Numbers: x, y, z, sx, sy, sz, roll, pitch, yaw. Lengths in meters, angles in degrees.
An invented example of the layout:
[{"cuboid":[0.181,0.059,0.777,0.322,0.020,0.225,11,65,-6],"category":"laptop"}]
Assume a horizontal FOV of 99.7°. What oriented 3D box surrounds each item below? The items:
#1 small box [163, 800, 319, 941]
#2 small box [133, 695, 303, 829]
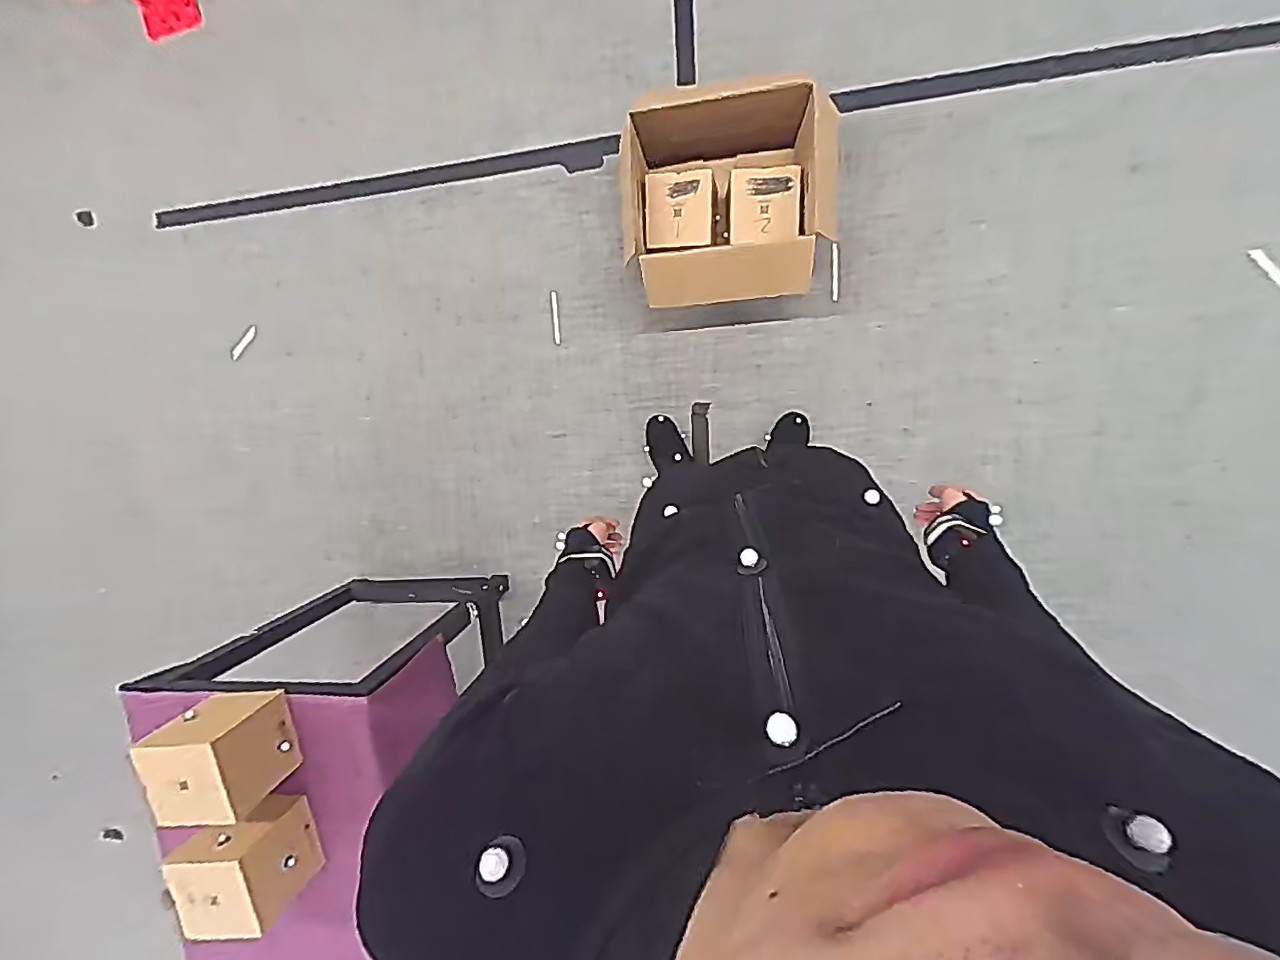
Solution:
[{"cuboid":[-0.782,0.772,1.084,0.179,0.176,0.168,-9,98,11],"category":"small box"},{"cuboid":[-0.805,0.537,1.046,0.179,0.176,0.168,-7,100,11],"category":"small box"}]
